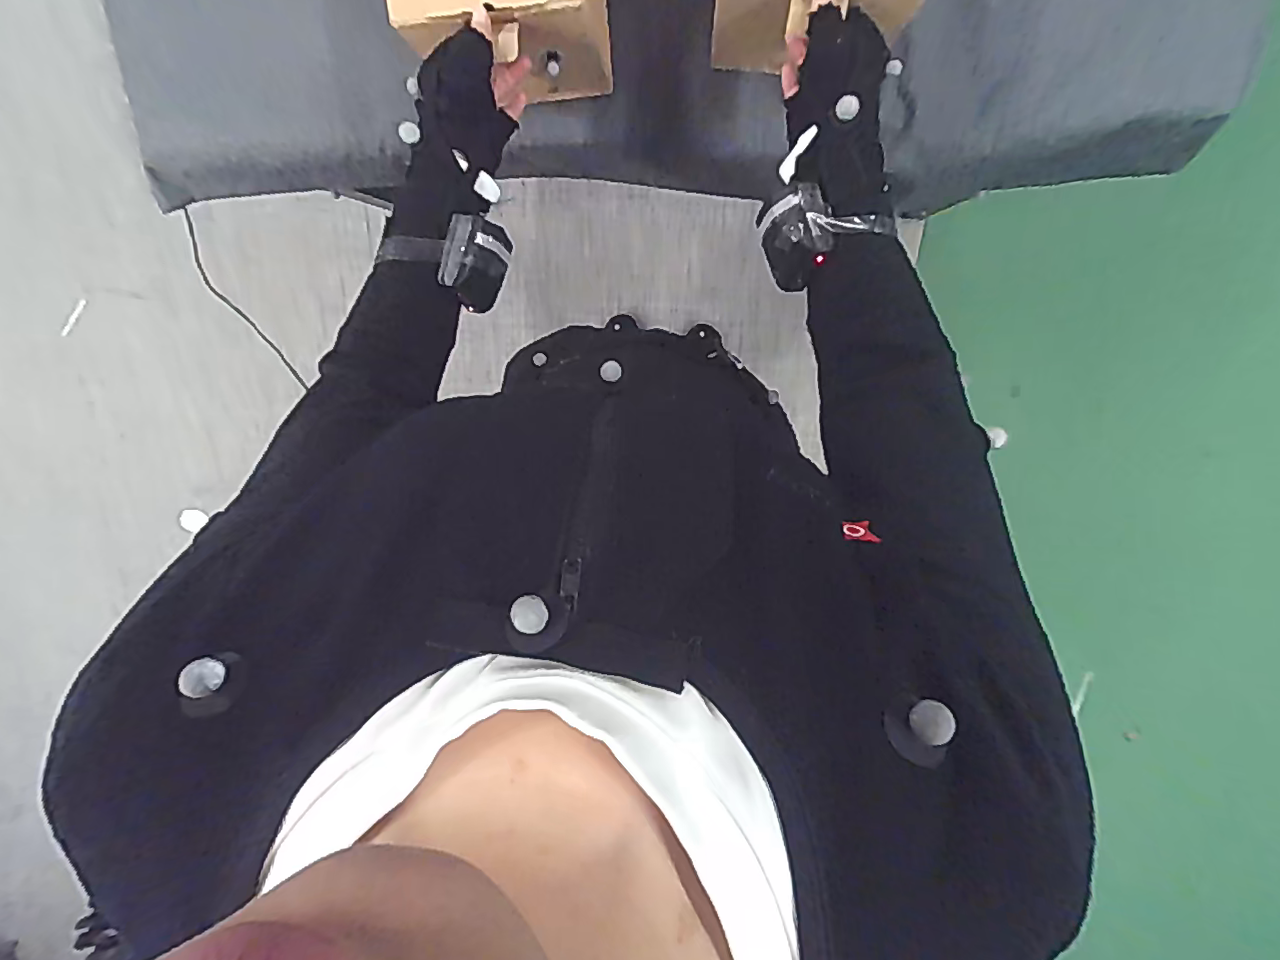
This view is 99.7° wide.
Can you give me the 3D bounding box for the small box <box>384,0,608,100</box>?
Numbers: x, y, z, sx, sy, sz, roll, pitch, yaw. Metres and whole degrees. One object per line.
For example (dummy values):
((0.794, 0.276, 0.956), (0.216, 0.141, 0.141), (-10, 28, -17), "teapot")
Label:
((-0.125, -0.477, 0.492), (0.168, 0.176, 0.179), (-3, 102, 5), "small box")
